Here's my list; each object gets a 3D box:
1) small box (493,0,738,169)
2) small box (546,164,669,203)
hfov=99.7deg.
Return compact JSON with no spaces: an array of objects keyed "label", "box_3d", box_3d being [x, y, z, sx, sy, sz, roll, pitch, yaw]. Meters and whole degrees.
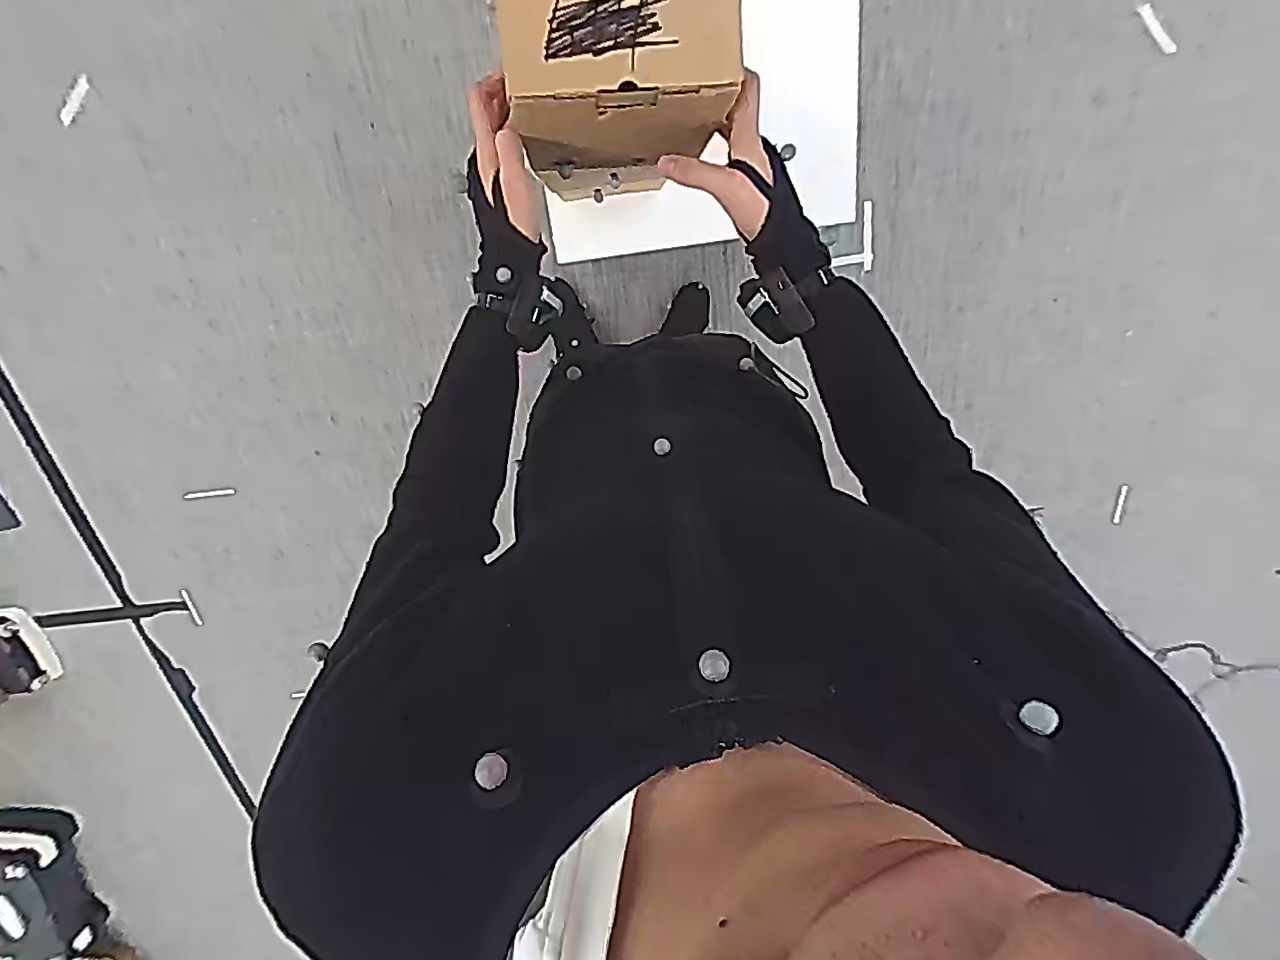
[{"label":"small box","box_3d":[-0.024,-0.365,0.430,0.168,0.176,0.179,-6,104,-4]},{"label":"small box","box_3d":[-0.051,-0.503,0.771,0.168,0.176,0.179,-7,112,0]}]
